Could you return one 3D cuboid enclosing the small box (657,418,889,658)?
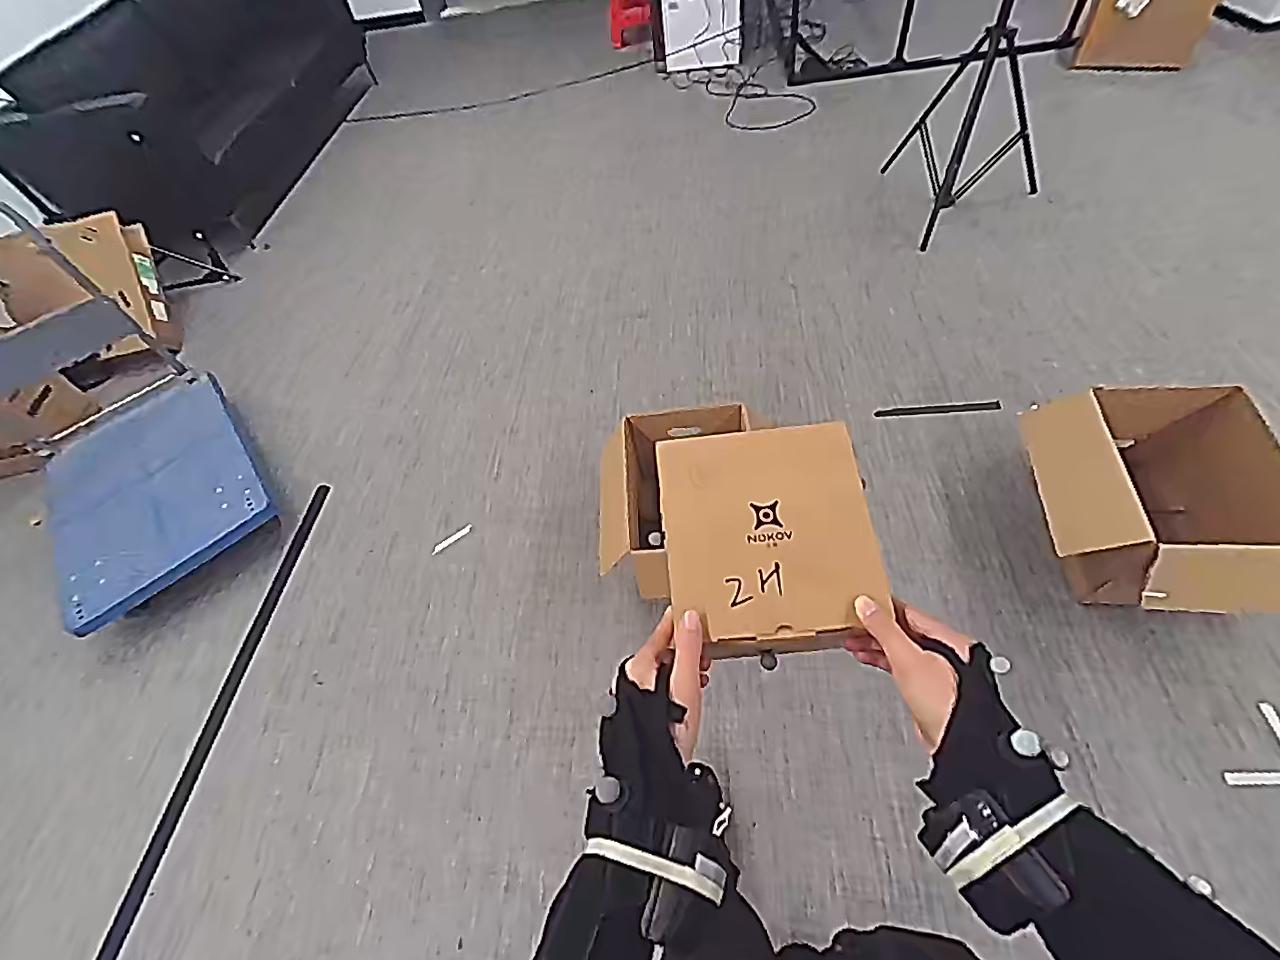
[{"bbox_3d":[0.106,0.063,0.511,0.168,0.176,0.179,-6,66,4],"label":"small box"}]
